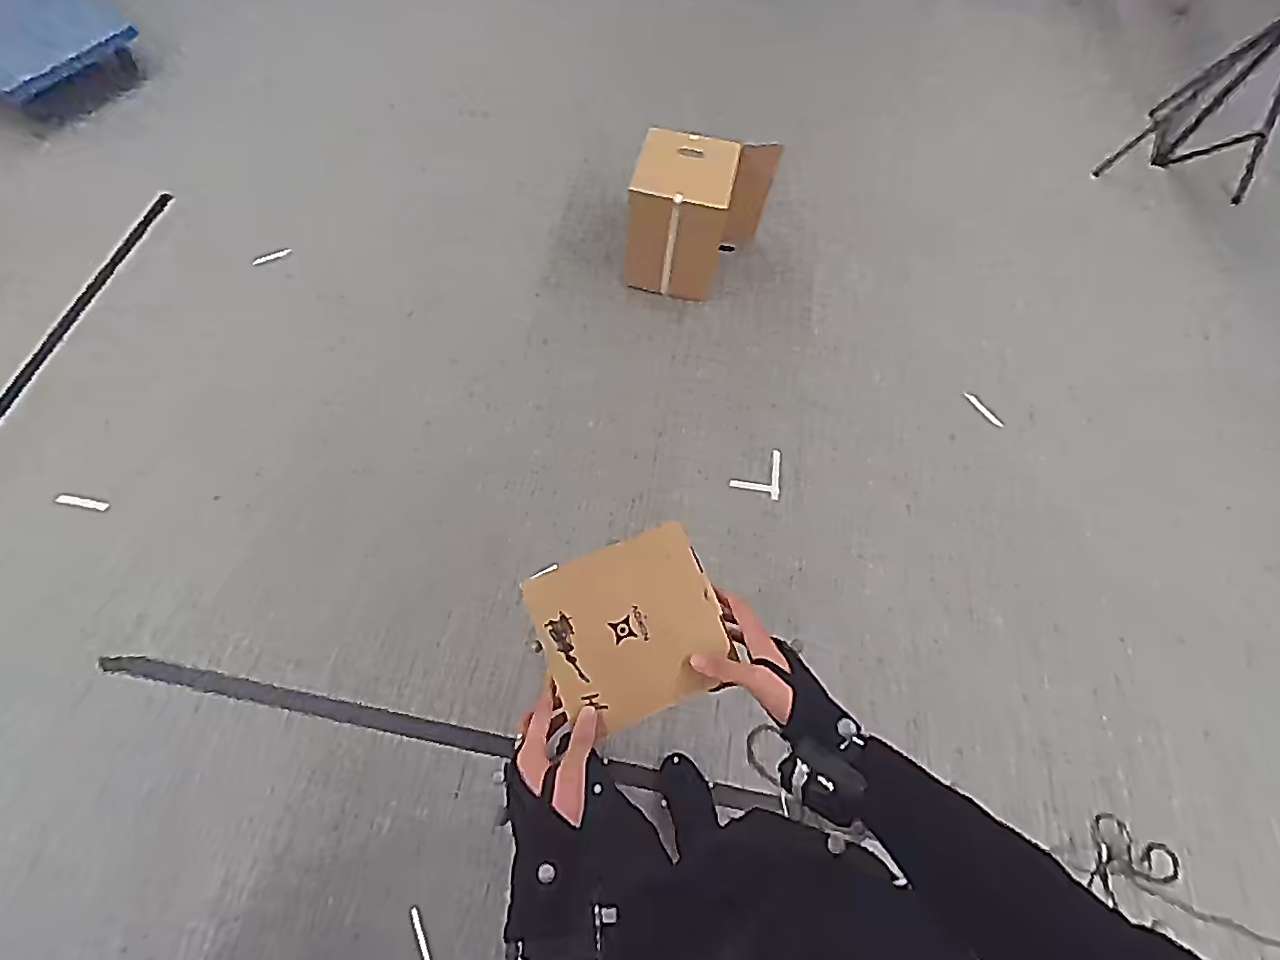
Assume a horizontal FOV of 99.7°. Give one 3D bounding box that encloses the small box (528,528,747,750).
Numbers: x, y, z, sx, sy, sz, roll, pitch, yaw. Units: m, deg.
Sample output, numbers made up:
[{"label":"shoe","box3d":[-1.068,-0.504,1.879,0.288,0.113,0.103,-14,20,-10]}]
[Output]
[{"label":"small box","box3d":[-0.008,0.166,0.602,0.179,0.176,0.168,-20,78,-7]}]
